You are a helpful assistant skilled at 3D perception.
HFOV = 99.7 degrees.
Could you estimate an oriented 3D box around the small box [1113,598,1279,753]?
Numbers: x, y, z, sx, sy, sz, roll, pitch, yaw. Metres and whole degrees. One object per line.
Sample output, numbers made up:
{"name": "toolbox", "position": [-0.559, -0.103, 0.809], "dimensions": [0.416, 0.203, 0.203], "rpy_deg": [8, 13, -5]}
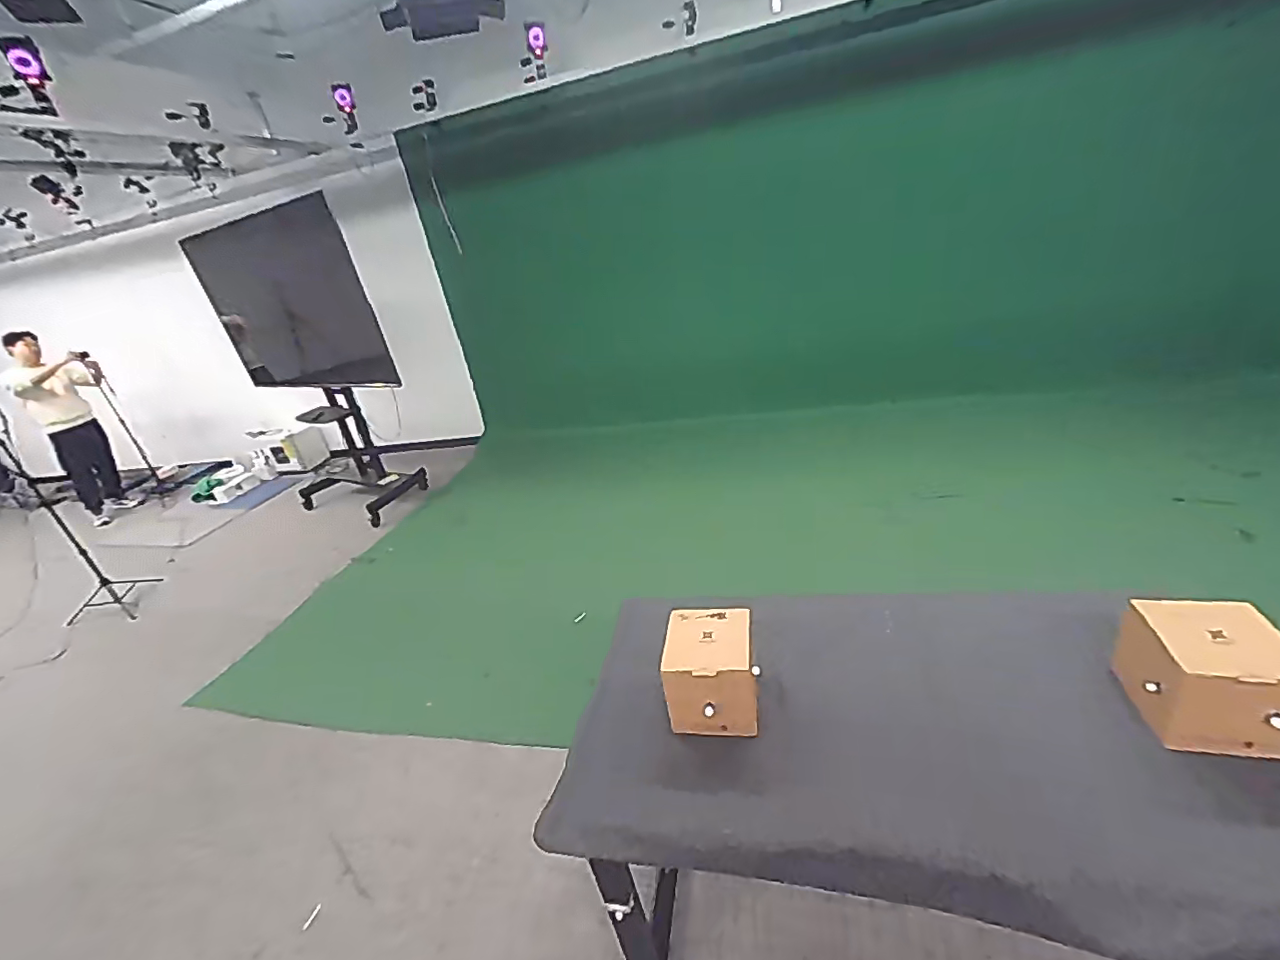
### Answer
{"name": "small box", "position": [0.926, 0.315, 0.887], "dimensions": [0.168, 0.176, 0.179], "rpy_deg": [-2, 26, 18]}

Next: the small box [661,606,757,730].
{"name": "small box", "position": [0.146, 0.378, 1.089], "dimensions": [0.168, 0.176, 0.179], "rpy_deg": [-4, 26, 14]}
